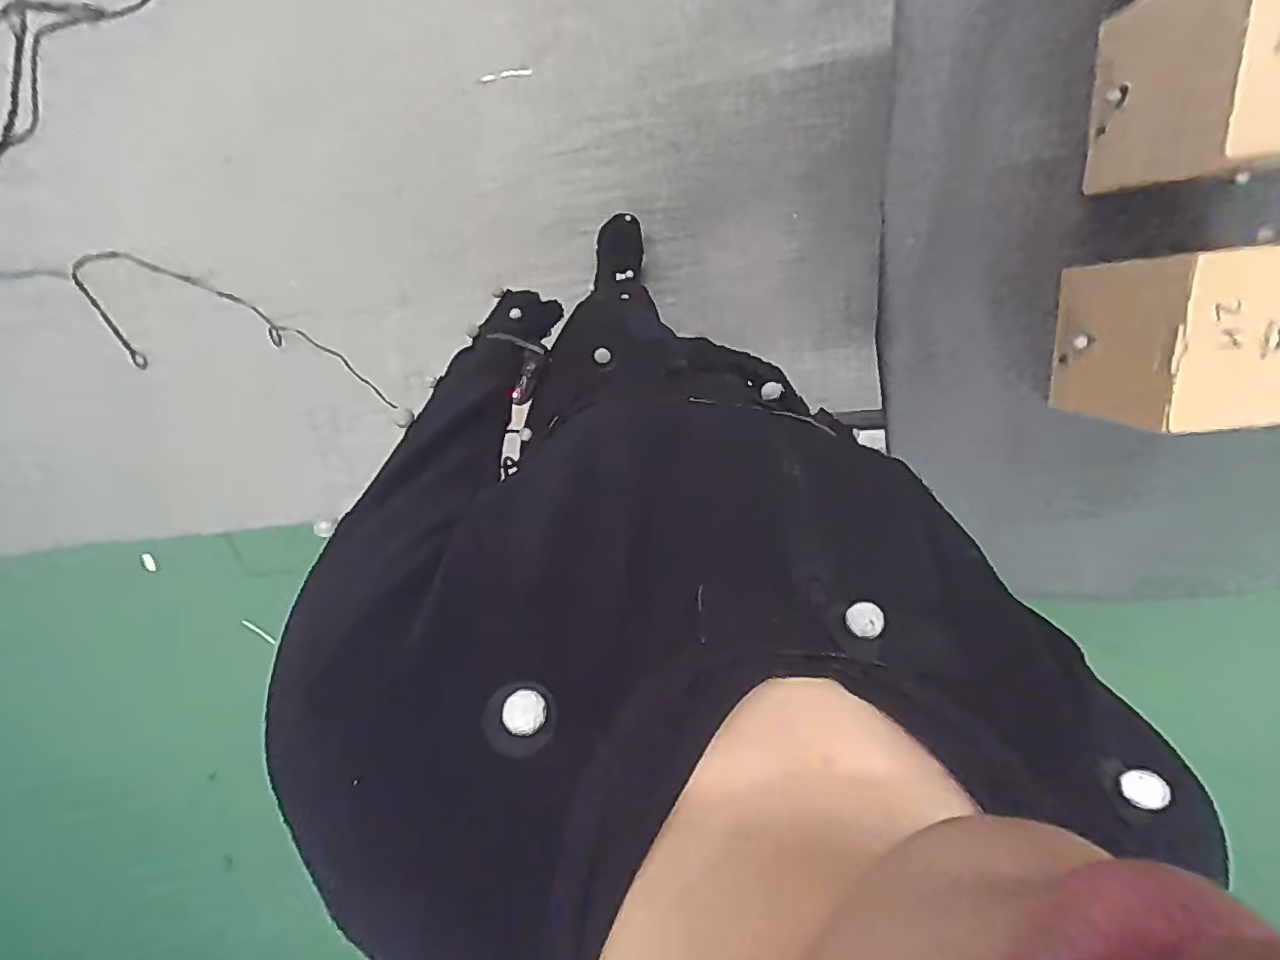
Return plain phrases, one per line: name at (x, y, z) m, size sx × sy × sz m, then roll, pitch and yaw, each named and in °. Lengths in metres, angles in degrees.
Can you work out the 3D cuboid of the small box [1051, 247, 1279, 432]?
small box at (0.594, -0.154, 0.576) m, size 0.179 × 0.176 × 0.168 m, roll -5°, pitch 107°, yaw 3°
